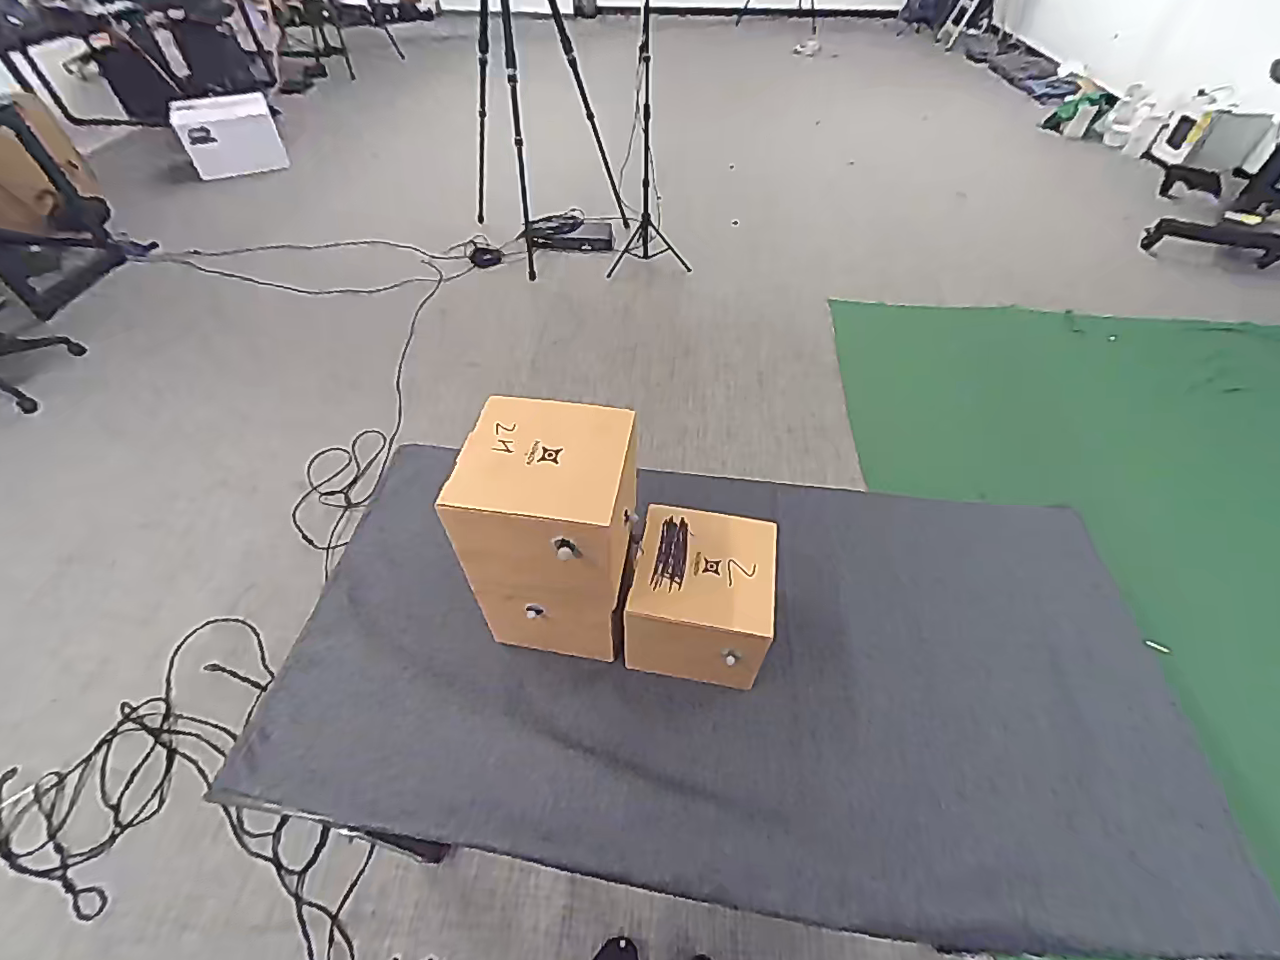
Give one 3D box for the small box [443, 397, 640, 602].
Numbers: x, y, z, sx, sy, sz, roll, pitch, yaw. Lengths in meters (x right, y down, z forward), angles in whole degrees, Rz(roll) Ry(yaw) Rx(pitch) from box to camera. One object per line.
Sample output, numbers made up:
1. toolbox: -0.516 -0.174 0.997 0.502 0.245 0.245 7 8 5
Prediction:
1. small box: -0.099 0.027 0.638 0.179 0.176 0.168 7 49 5
